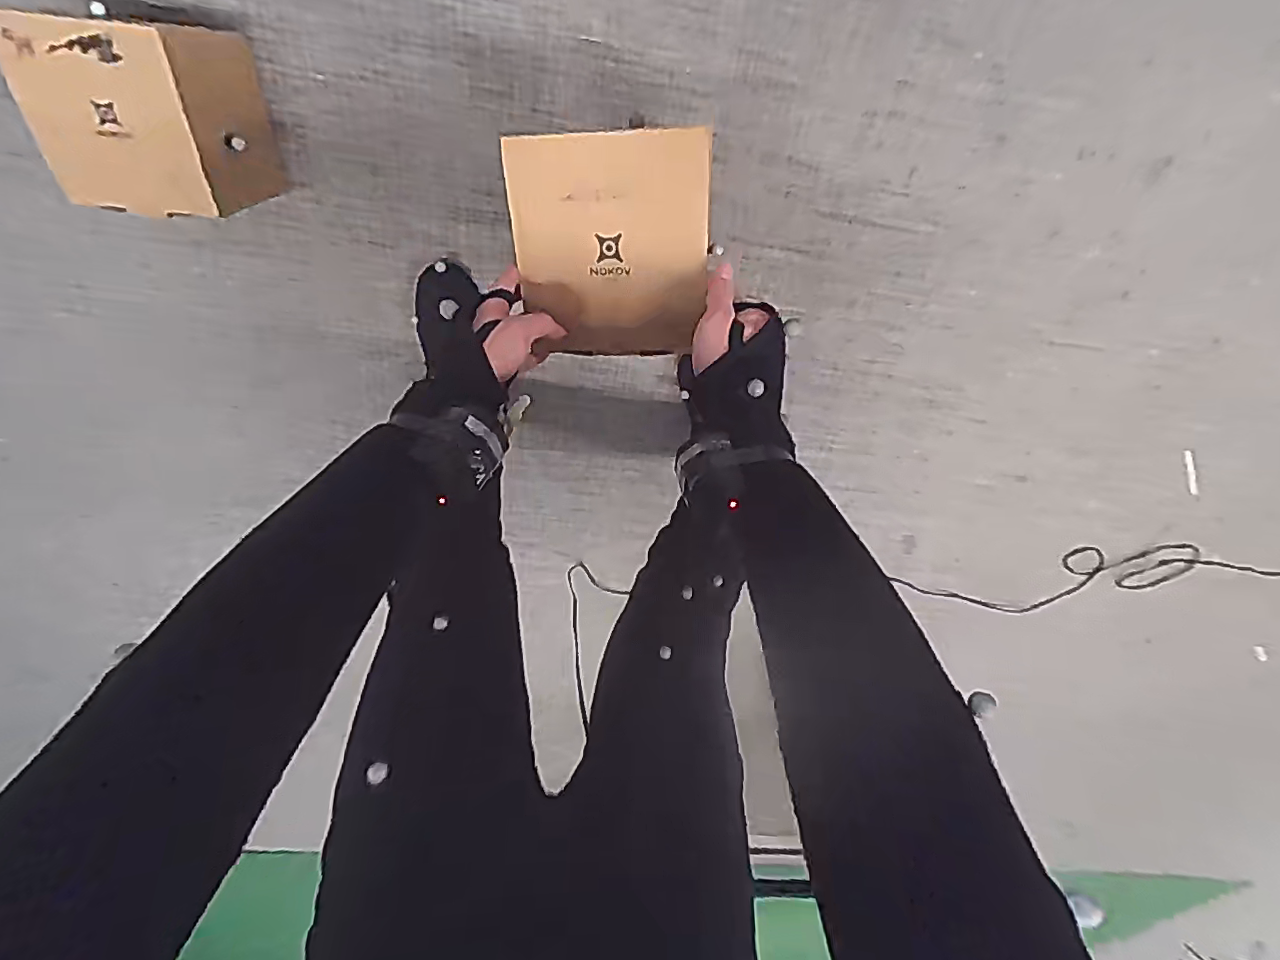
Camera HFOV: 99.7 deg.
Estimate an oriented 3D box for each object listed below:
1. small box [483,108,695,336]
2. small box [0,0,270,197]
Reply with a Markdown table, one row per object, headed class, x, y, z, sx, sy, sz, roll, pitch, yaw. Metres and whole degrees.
| class | x | y | z | sx | sy | sz | roll | pitch | yaw |
| --- | --- | --- | --- | --- | --- | --- | --- | --- | --- |
| small box | -0.032 | -0.250 | 0.526 | 0.168 | 0.176 | 0.179 | 2 | 121 | 6 |
| small box | -0.572 | -0.451 | 0.625 | 0.168 | 0.176 | 0.179 | 4 | 129 | -5 |
